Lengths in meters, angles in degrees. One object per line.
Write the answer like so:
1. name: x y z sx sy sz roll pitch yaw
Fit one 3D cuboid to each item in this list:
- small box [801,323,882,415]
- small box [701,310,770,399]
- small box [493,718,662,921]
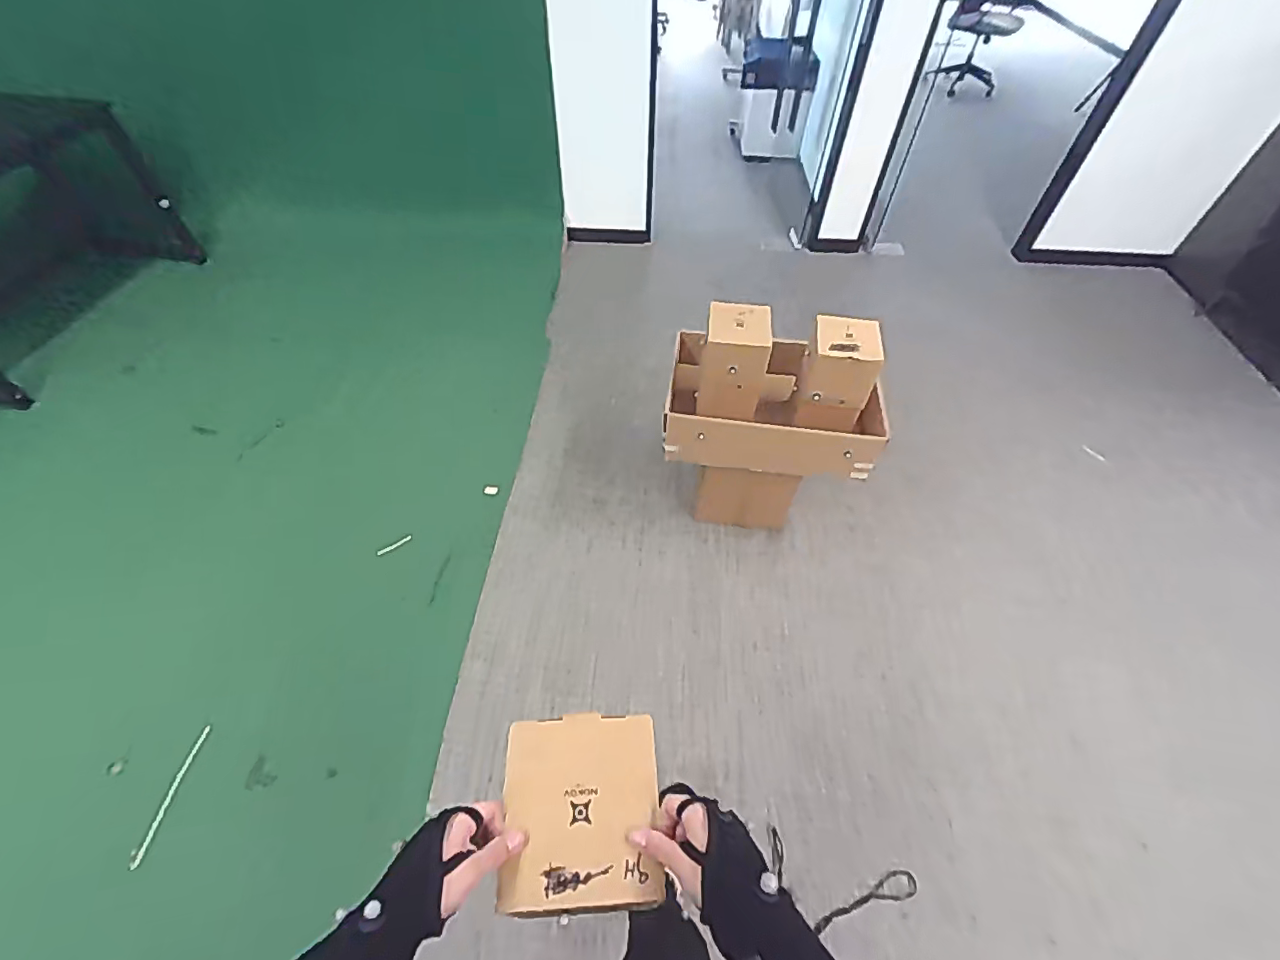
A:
1. small box: 0.541 -0.298 1.468 0.168 0.176 0.179 9 51 7
2. small box: 0.262 -0.344 1.495 0.168 0.176 0.179 7 52 3
3. small box: -0.067 0.398 0.633 0.168 0.176 0.179 -1 50 -4
